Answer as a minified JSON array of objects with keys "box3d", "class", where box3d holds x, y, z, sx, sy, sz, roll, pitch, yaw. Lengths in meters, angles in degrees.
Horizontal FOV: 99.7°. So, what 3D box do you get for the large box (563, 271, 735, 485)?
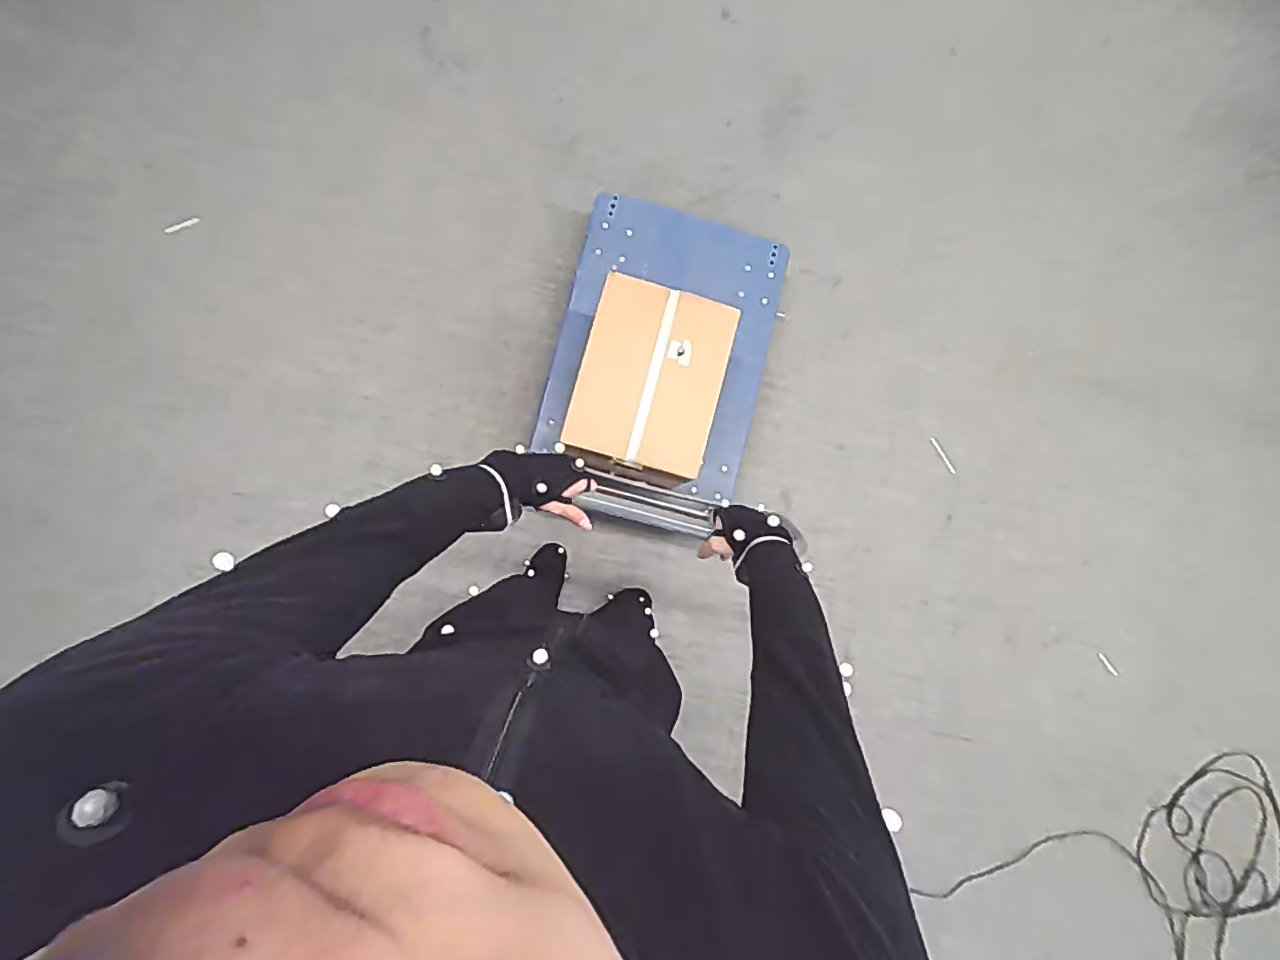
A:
[{"box3d":[0.010,-0.224,1.338,0.320,0.320,0.408,15,83,-5],"class":"large box"}]
